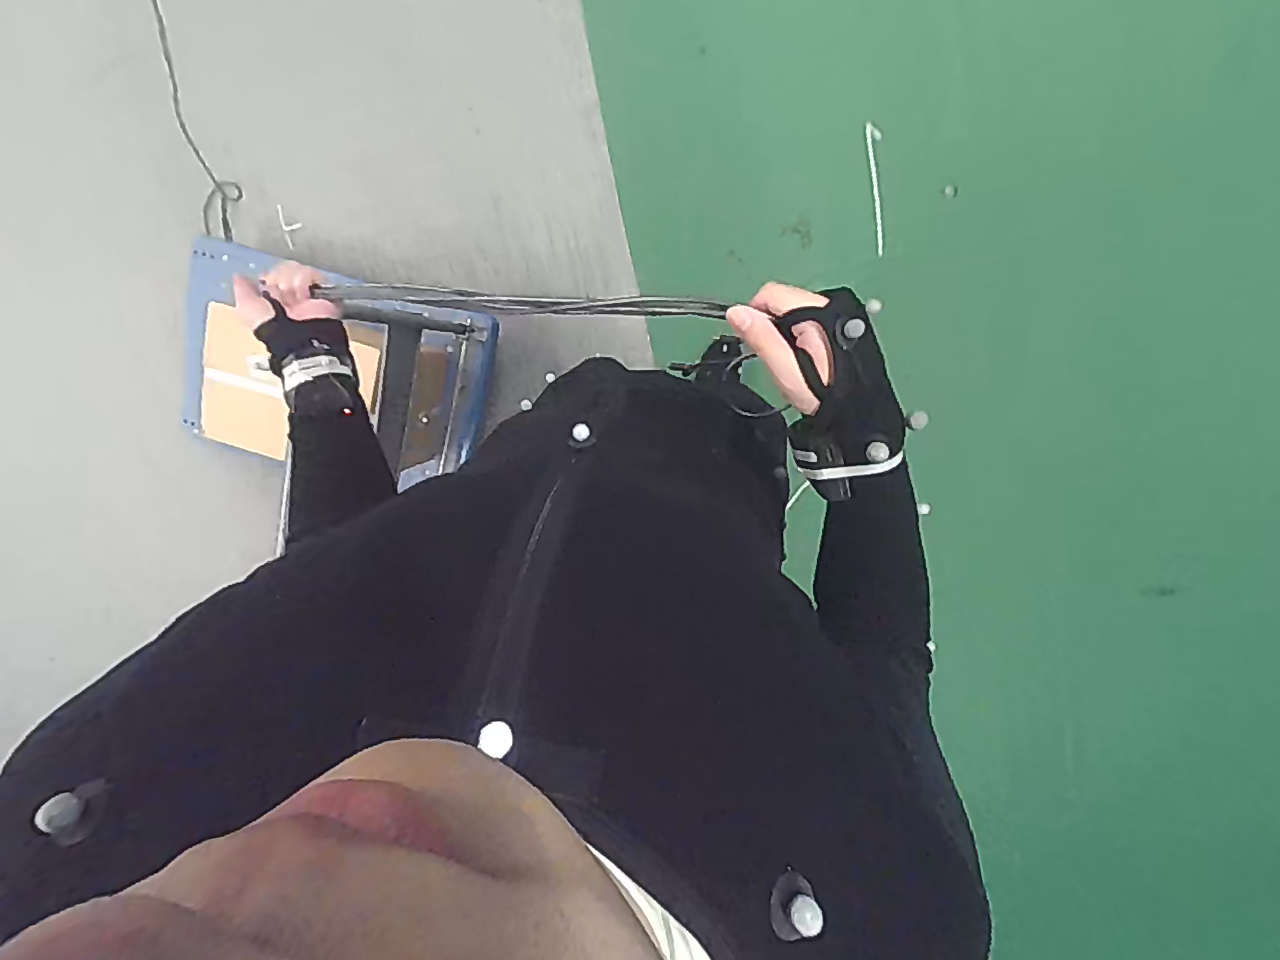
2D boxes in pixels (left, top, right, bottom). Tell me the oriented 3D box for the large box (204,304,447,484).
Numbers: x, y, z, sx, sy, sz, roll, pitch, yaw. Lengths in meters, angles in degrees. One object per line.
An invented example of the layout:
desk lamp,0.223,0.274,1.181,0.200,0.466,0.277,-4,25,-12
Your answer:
large box,-0.750,-0.217,1.332,0.408,0.320,0.320,17,103,4
